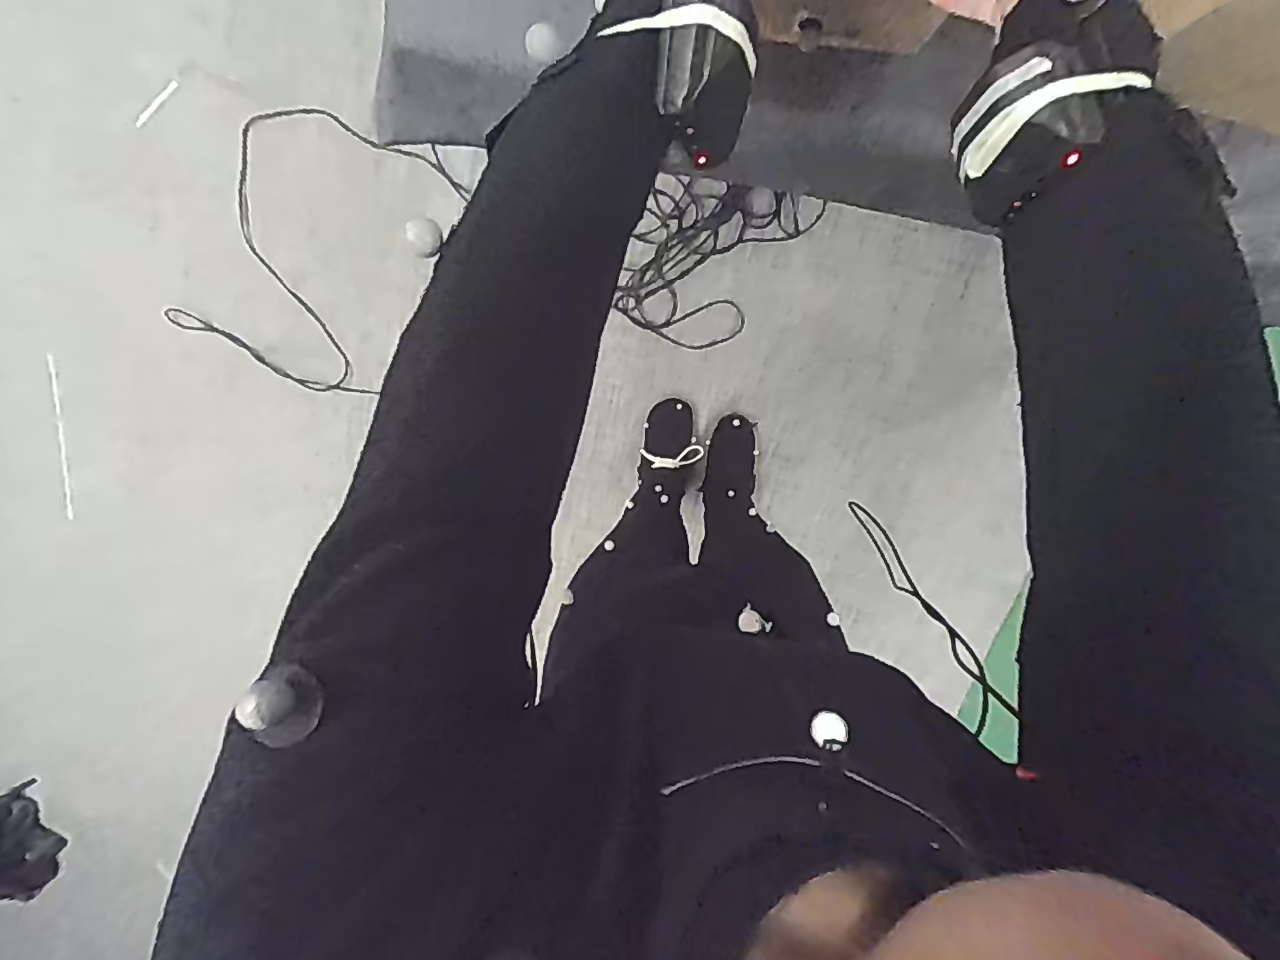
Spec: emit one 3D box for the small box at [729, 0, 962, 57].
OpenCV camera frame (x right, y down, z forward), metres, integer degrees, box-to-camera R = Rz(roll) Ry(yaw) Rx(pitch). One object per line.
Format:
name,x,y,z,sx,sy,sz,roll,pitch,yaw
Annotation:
small box,0.153,-0.422,0.353,0.168,0.176,0.179,8,109,4
